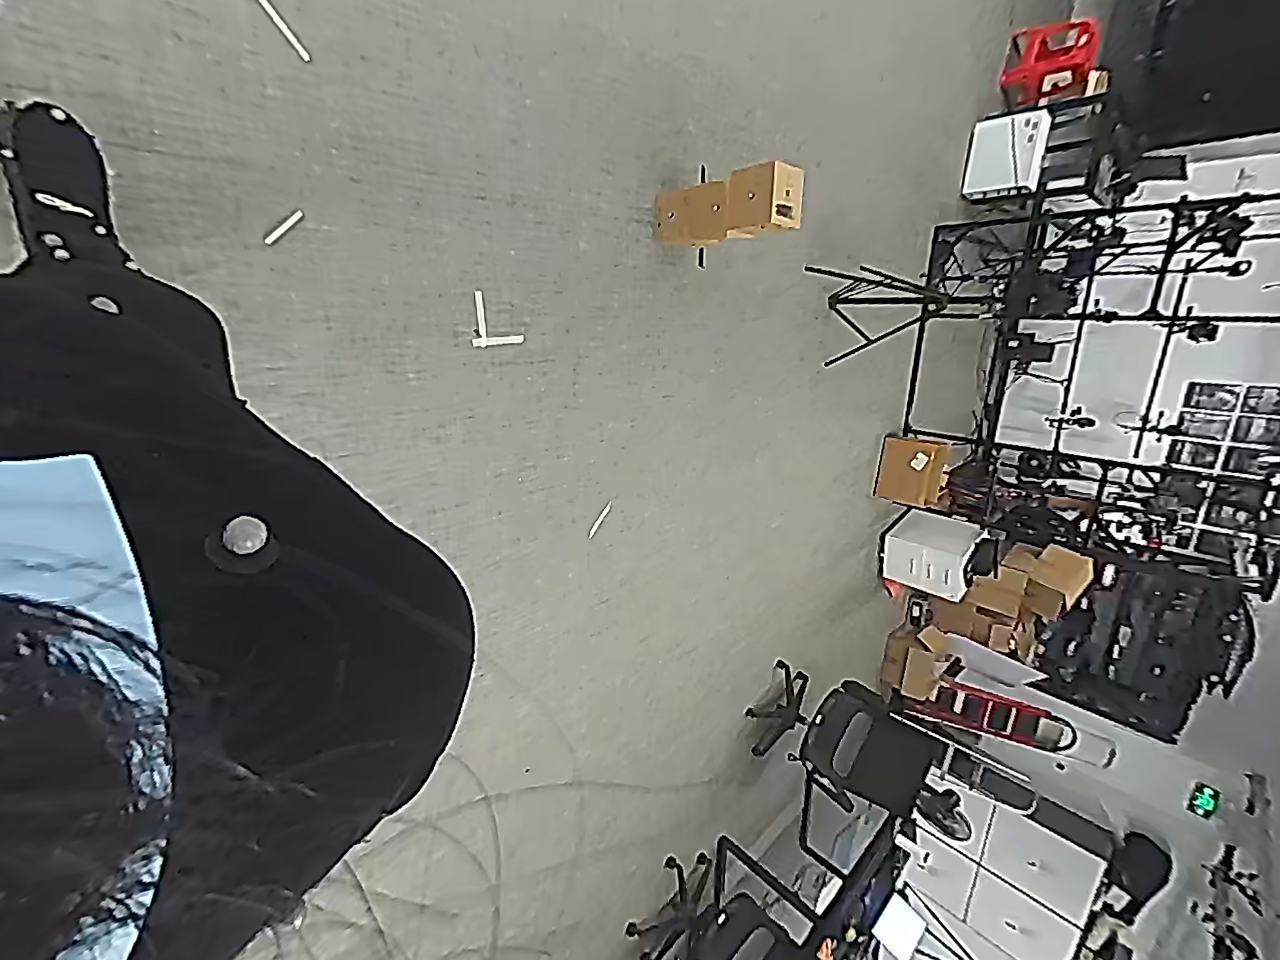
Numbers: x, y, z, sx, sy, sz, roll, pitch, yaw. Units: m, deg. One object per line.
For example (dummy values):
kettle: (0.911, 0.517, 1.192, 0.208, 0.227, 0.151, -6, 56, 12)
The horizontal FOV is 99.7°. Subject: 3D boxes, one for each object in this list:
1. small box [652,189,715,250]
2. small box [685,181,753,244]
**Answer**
small box: (0.161, -0.938, 1.964, 0.179, 0.176, 0.168, -12, 112, -43)
small box: (0.266, -0.906, 1.845, 0.168, 0.176, 0.179, -23, 117, -39)
